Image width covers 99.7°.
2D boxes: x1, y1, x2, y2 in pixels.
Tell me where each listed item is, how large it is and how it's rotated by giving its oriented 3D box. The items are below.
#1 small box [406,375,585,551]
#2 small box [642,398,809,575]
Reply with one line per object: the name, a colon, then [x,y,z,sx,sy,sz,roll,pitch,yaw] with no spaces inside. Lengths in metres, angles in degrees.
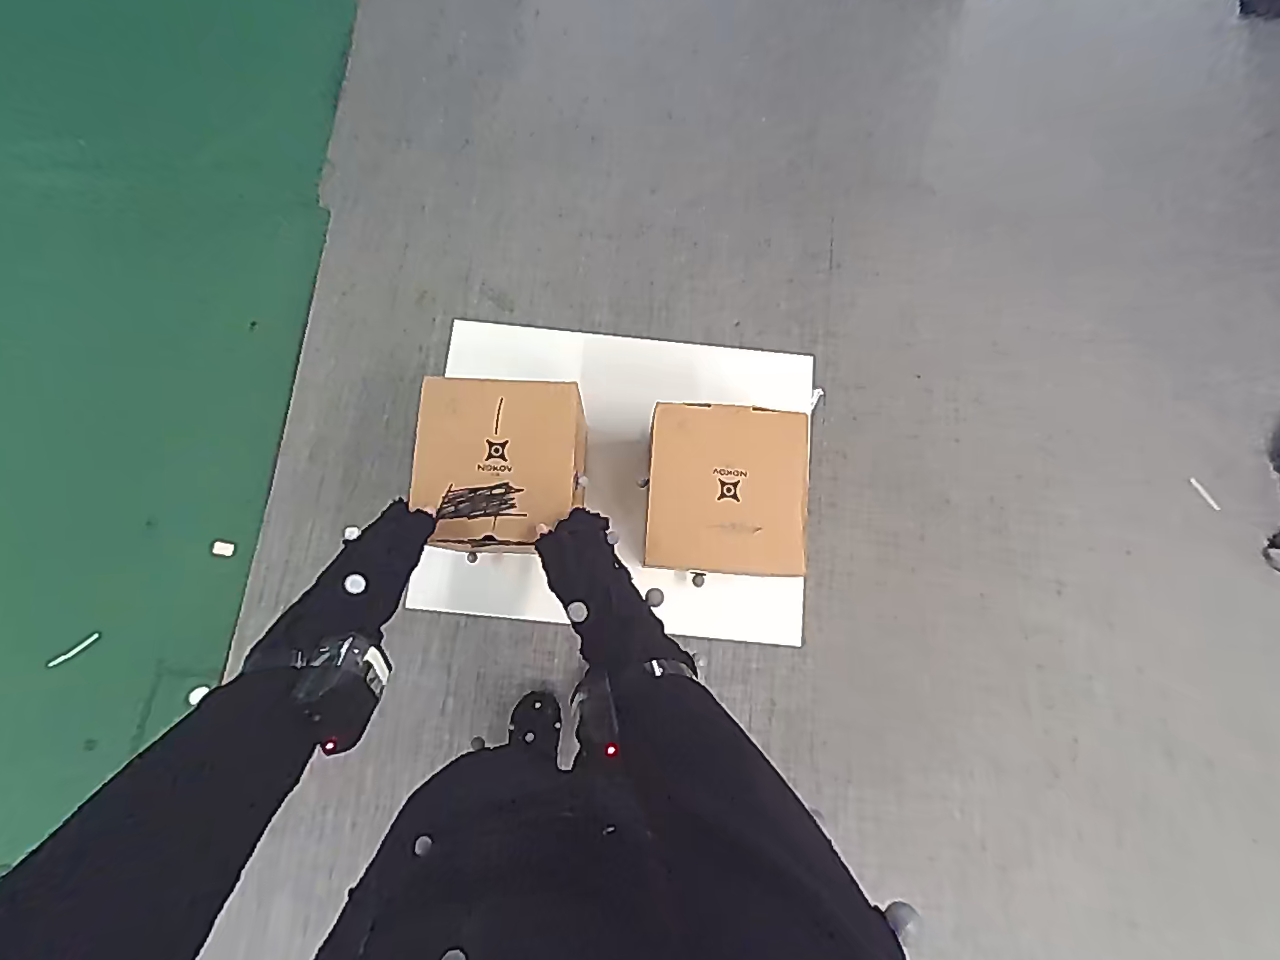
small box: [-0.155,-0.009,0.639,0.168,0.176,0.179,2,78,-1]
small box: [0.089,0.017,0.627,0.168,0.176,0.179,3,81,1]
